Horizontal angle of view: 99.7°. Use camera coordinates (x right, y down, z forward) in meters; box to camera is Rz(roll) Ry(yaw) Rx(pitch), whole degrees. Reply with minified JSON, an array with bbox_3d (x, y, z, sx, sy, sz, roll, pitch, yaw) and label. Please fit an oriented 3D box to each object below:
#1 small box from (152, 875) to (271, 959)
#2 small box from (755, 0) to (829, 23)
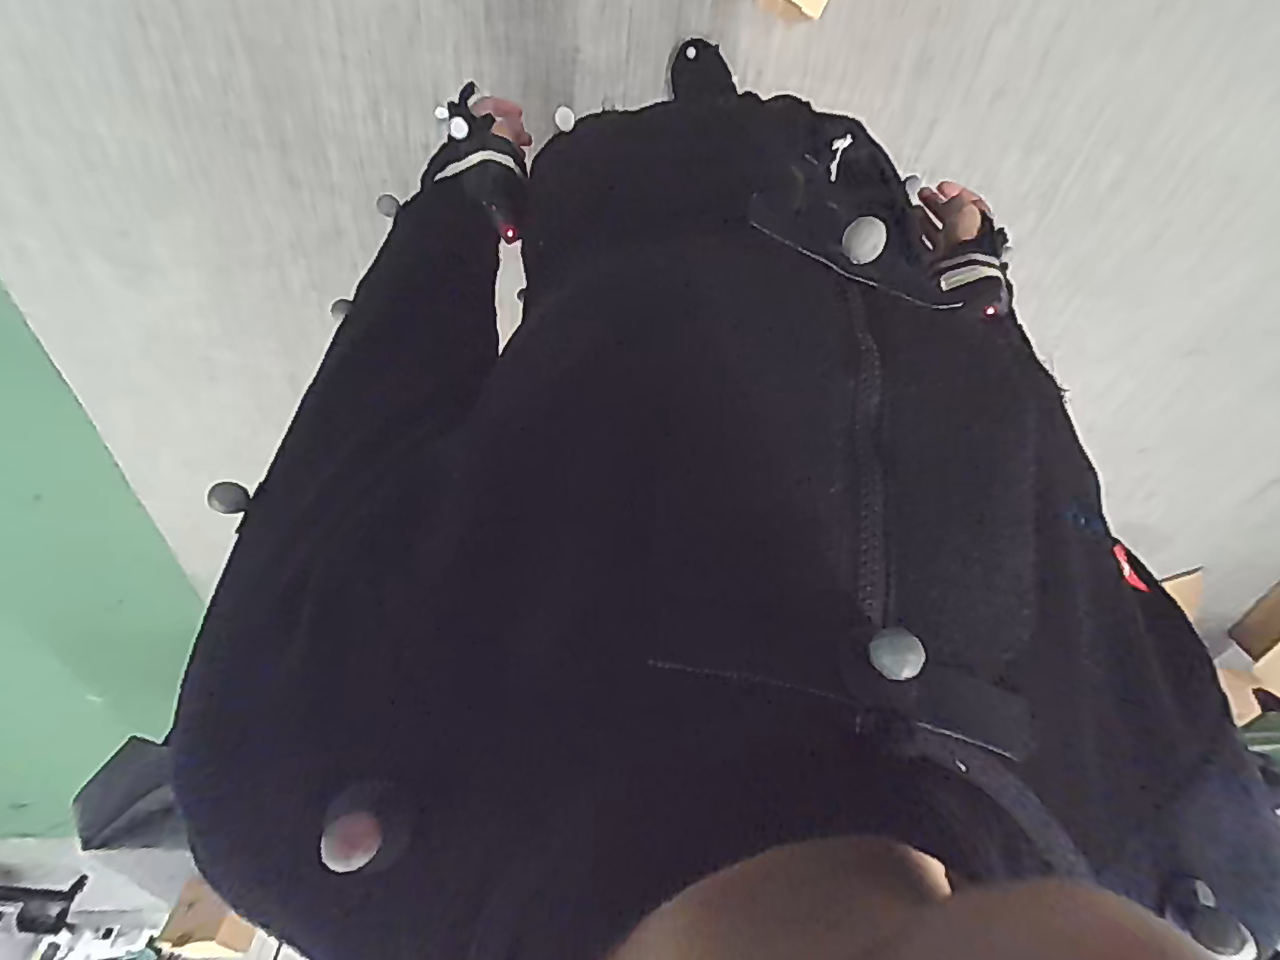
[{"bbox_3d":[-1.205,1.243,1.536,0.168,0.176,0.179,-3,131,2],"label":"small box"},{"bbox_3d":[0.234,-0.841,0.821,0.168,0.176,0.179,19,126,-18],"label":"small box"}]
